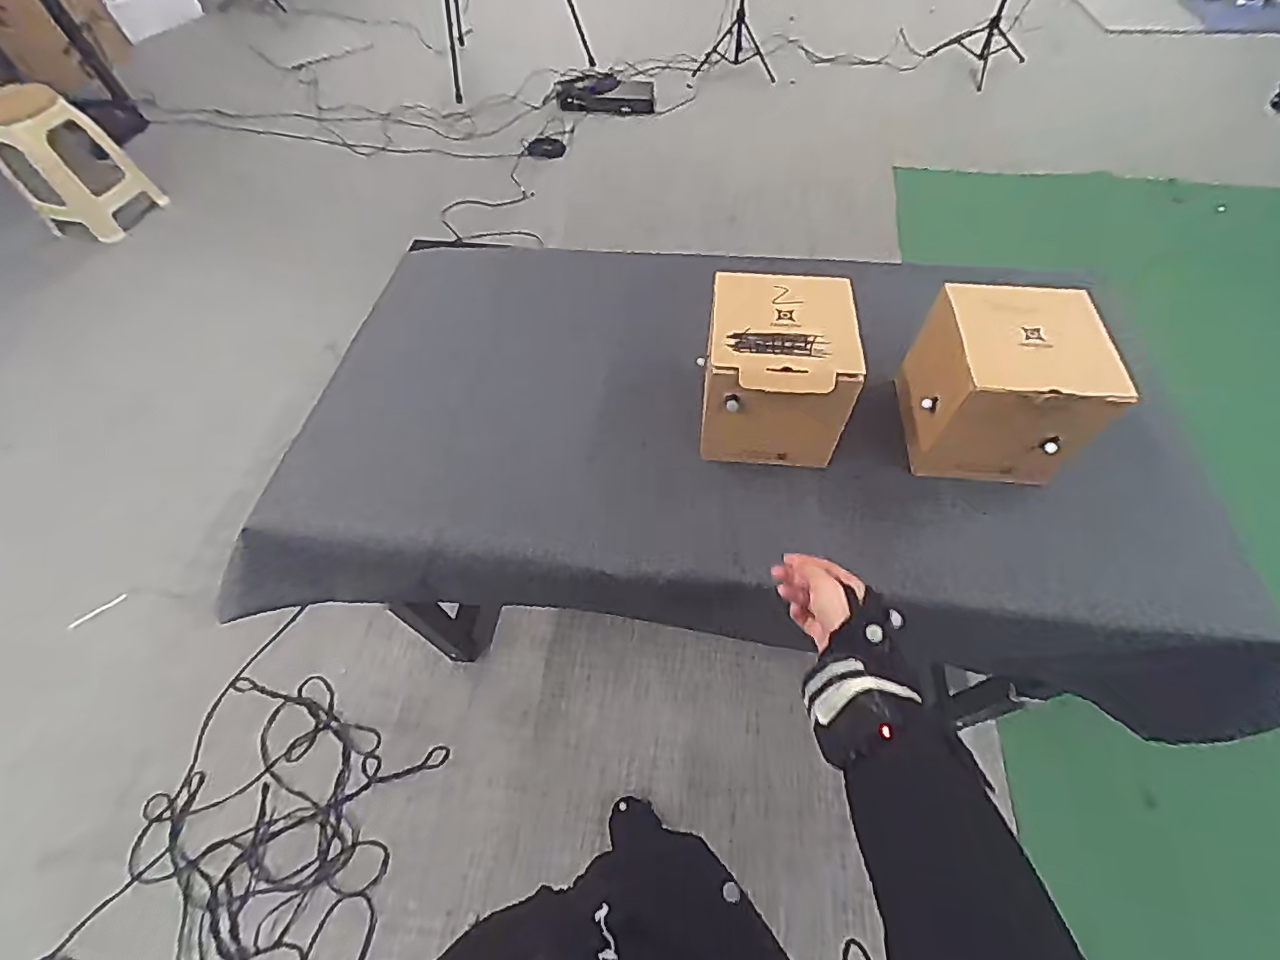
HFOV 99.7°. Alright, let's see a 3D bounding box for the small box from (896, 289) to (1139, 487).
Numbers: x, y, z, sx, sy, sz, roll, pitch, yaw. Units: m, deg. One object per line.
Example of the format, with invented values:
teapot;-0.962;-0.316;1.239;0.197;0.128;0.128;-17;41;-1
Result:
small box;0.438;-0.109;0.667;0.168;0.176;0.179;5;56;4
